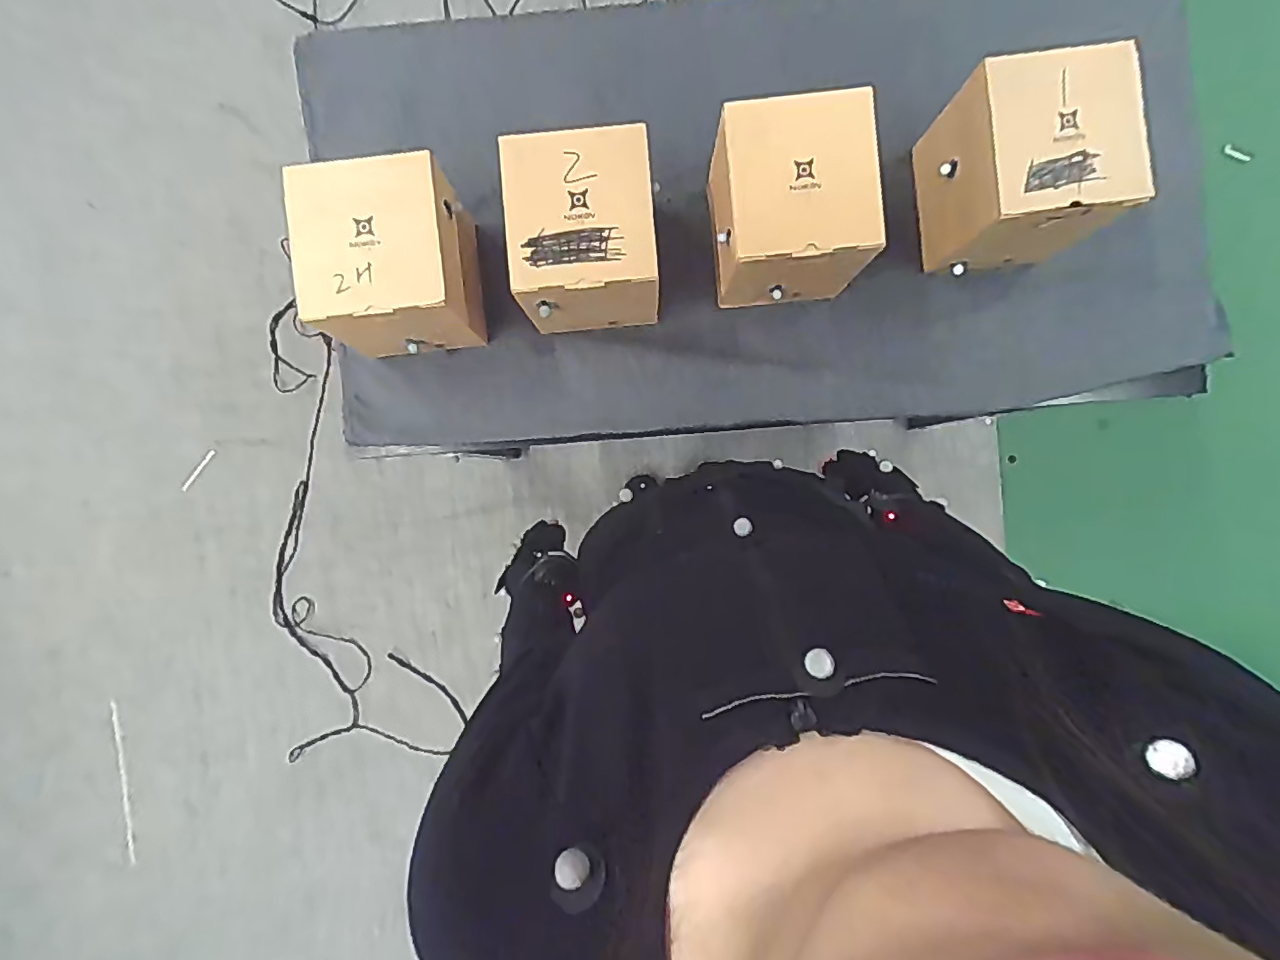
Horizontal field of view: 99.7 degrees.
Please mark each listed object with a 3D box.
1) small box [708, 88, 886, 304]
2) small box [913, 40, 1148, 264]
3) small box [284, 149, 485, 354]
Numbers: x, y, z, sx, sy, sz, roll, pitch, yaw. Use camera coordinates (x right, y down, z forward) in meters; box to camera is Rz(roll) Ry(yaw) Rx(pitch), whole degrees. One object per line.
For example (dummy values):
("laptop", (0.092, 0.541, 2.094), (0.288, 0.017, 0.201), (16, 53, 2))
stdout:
("small box", (0.181, -0.337, 0.671), (0.168, 0.176, 0.179), (-6, 91, 0))
("small box", (0.460, -0.381, 0.664), (0.168, 0.176, 0.179), (-6, 90, 1))
("small box", (-0.302, -0.269, 0.671), (0.168, 0.176, 0.179), (-6, 89, 0))
